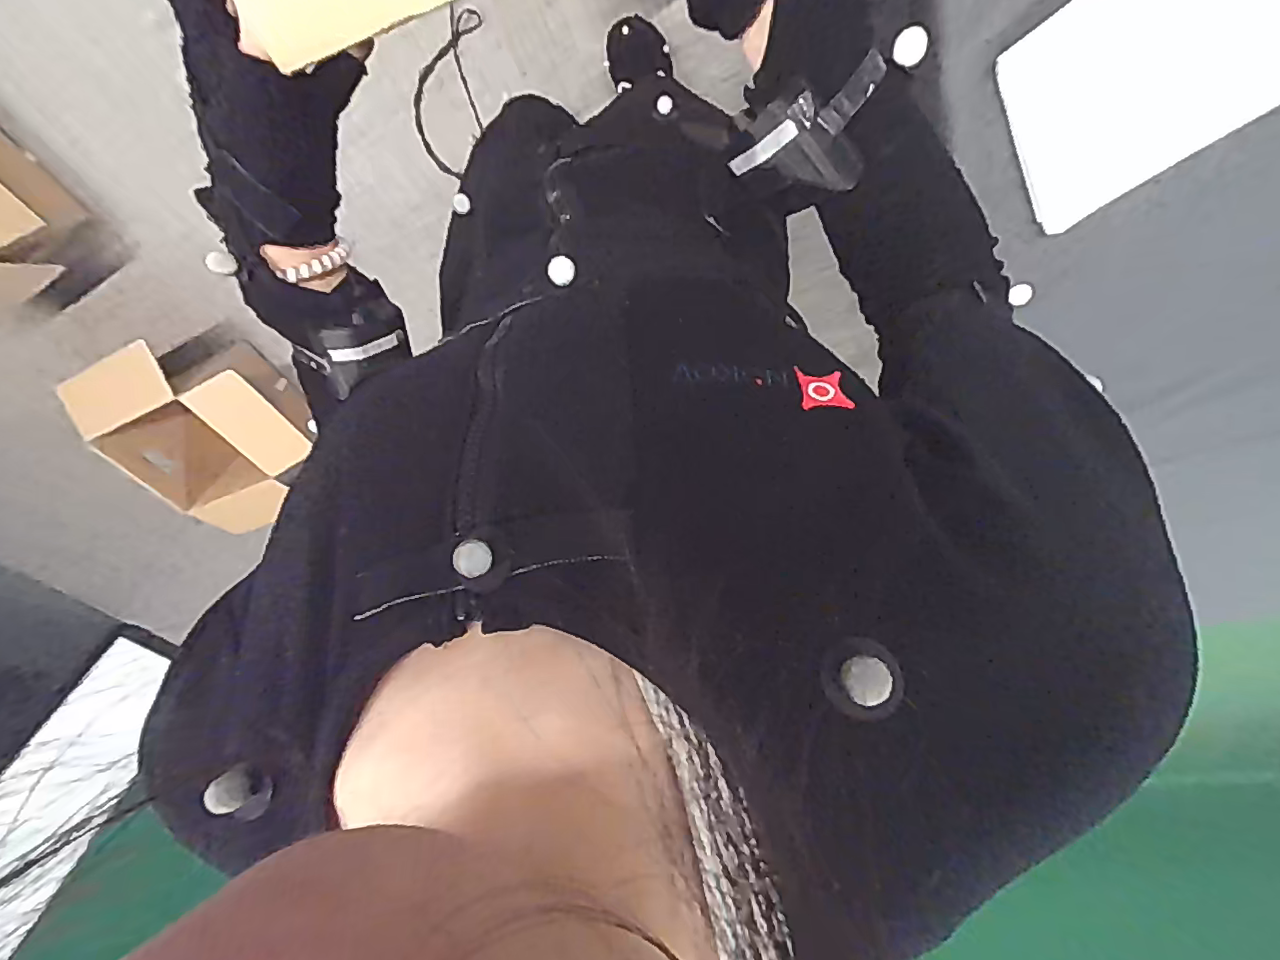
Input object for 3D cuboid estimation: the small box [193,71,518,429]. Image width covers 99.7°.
[{"bbox_3d":[-0.210,-0.138,0.392,0.168,0.176,0.179,-2,103,-44],"label":"small box"}]
